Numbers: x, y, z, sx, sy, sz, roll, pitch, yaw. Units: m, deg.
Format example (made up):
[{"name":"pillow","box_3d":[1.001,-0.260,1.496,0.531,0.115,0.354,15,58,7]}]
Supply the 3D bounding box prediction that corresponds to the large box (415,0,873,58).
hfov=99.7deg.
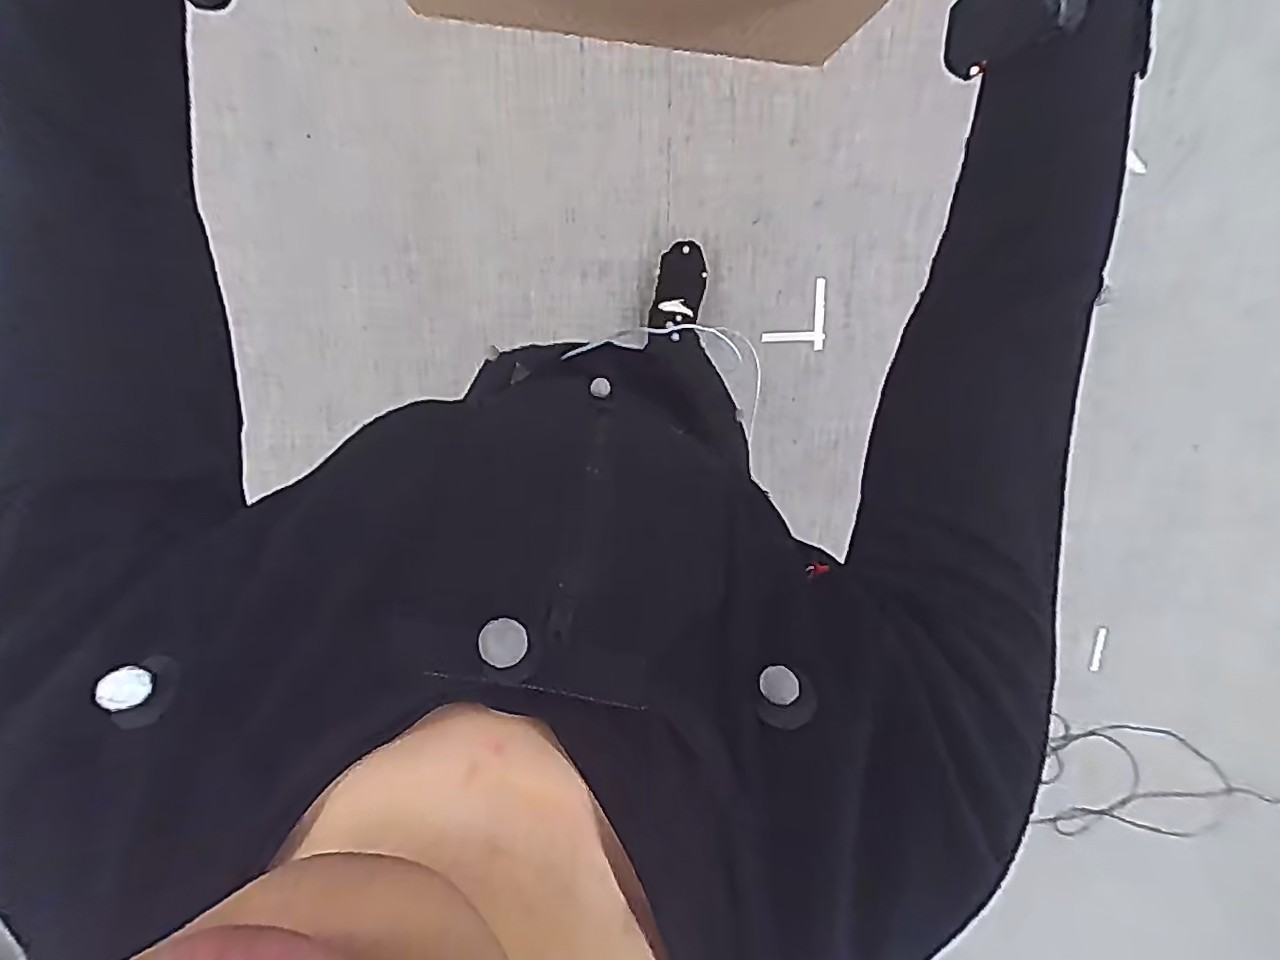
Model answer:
[{"name":"large box","box_3d":[0.003,-0.524,0.347,0.408,0.320,0.320,4,113,-4]}]
